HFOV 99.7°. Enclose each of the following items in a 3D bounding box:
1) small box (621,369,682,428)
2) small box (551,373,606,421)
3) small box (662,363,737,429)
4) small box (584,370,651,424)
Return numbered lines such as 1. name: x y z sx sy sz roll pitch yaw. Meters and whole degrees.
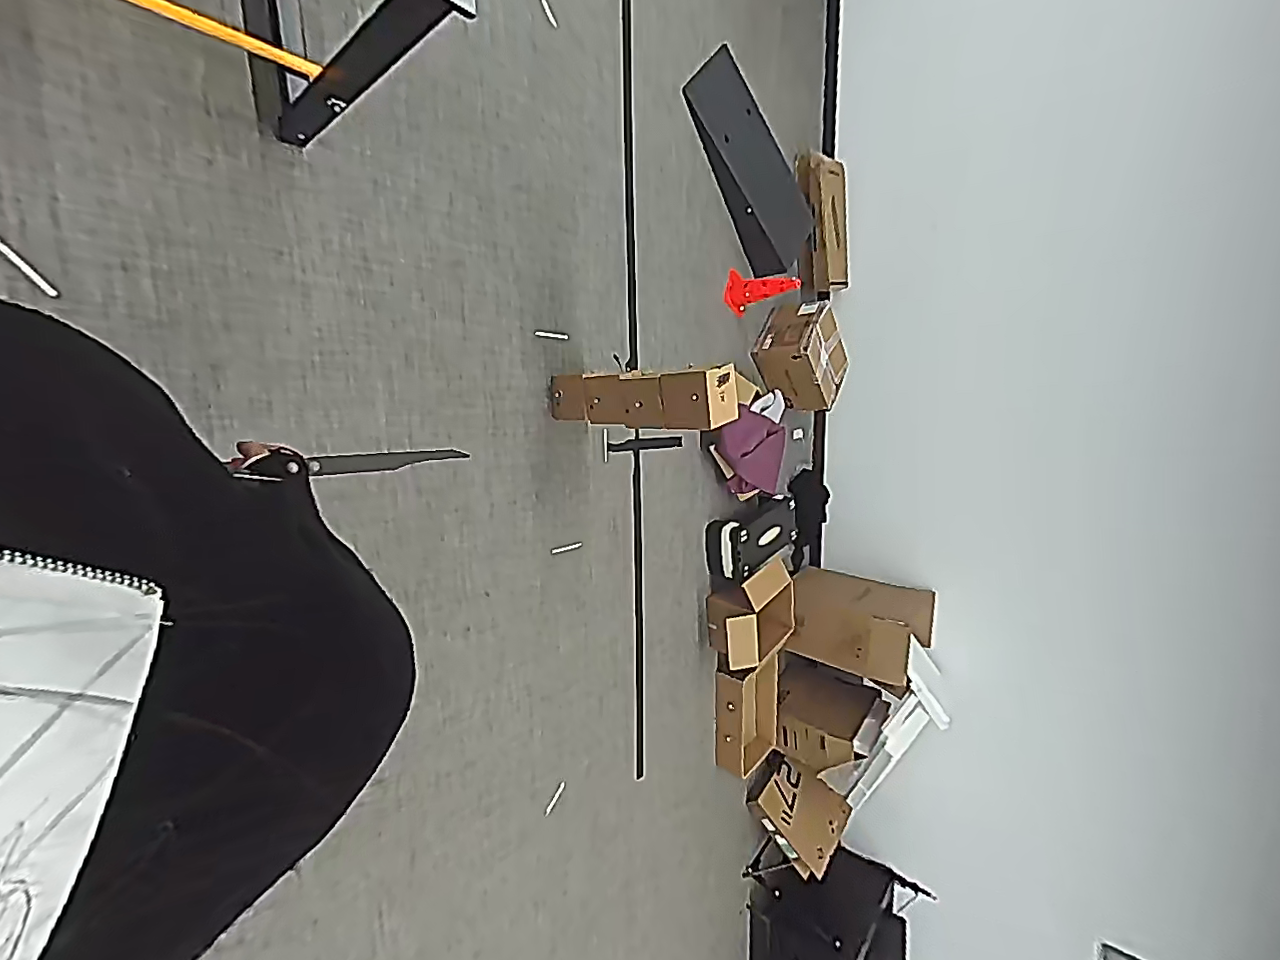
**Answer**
1. small box: 0.052 -0.267 1.780 0.179 0.176 0.168 -24 112 -46
2. small box: -0.205 -0.305 1.982 0.179 0.176 0.168 -14 104 -47
3. small box: 0.181 -0.259 1.676 0.168 0.176 0.179 -25 113 -47
4. small box: -0.071 -0.291 1.886 0.179 0.176 0.168 -22 109 -47
